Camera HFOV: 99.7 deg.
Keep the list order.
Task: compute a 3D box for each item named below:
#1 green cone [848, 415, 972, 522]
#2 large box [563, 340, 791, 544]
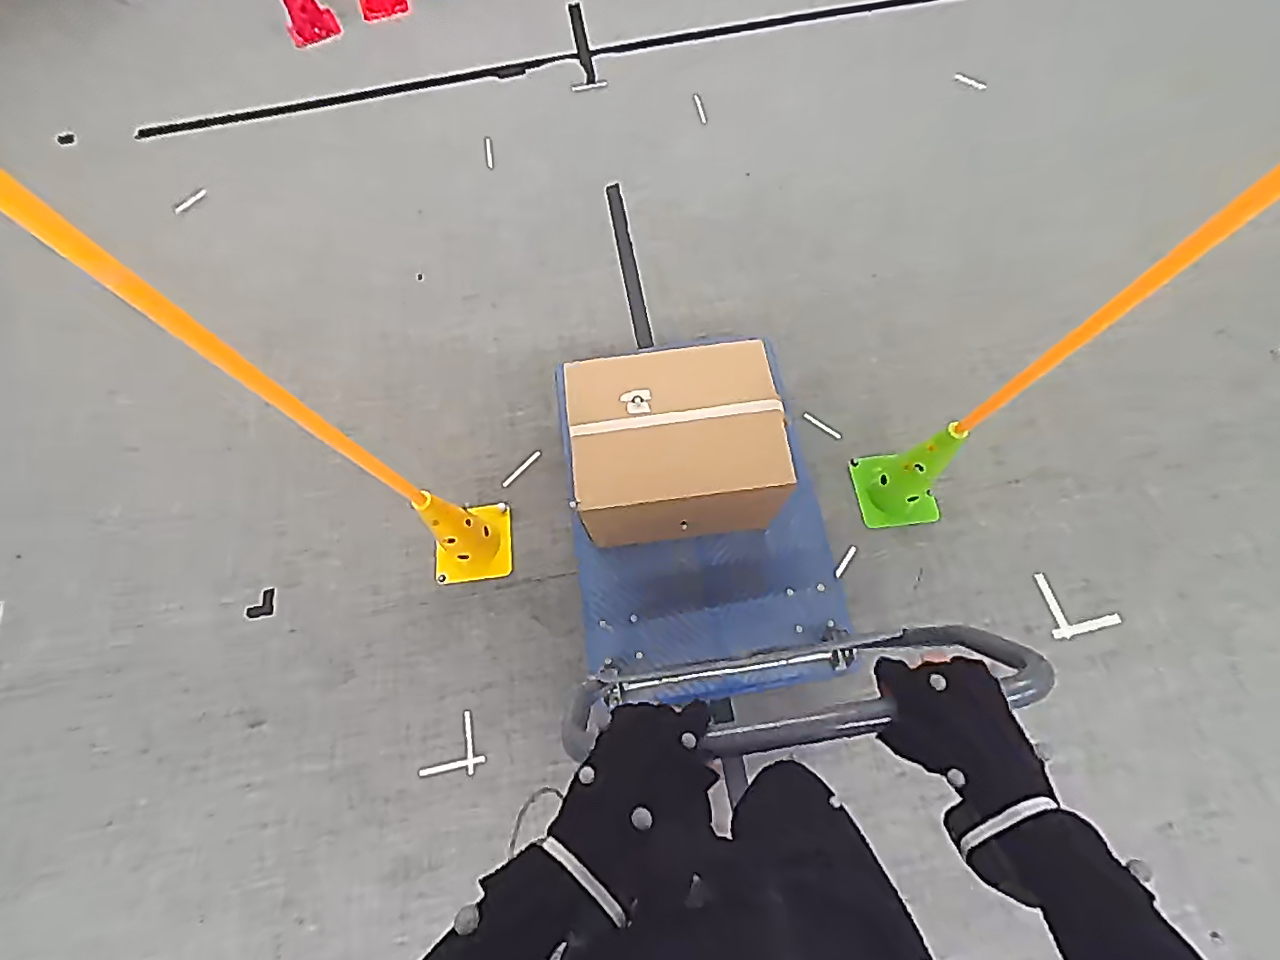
[{"bbox_3d":[0.674,-0.051,1.296,0.202,0.368,0.200,-7,69,-1],"label":"green cone"},{"bbox_3d":[0.069,-0.063,1.175,0.408,0.320,0.320,-8,70,0],"label":"large box"}]
